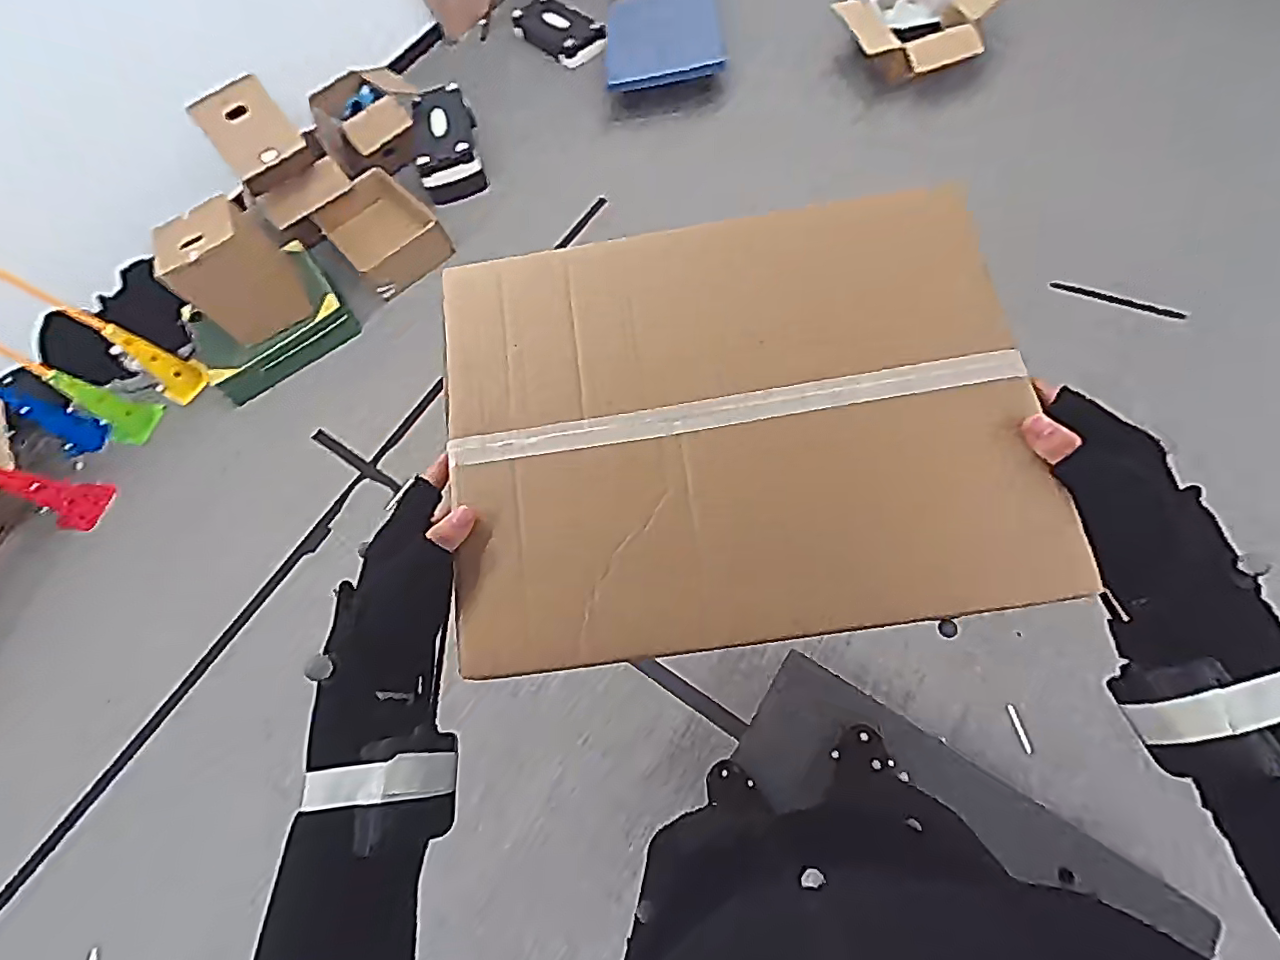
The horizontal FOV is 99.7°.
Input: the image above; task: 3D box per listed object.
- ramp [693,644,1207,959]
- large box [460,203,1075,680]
[{"bbox_3d":[0.661,0.844,1.185,0.991,0.206,0.509,26,71,21],"label":"ramp"},{"bbox_3d":[0.083,-0.006,0.539,0.408,0.320,0.320,-8,75,3],"label":"large box"}]
